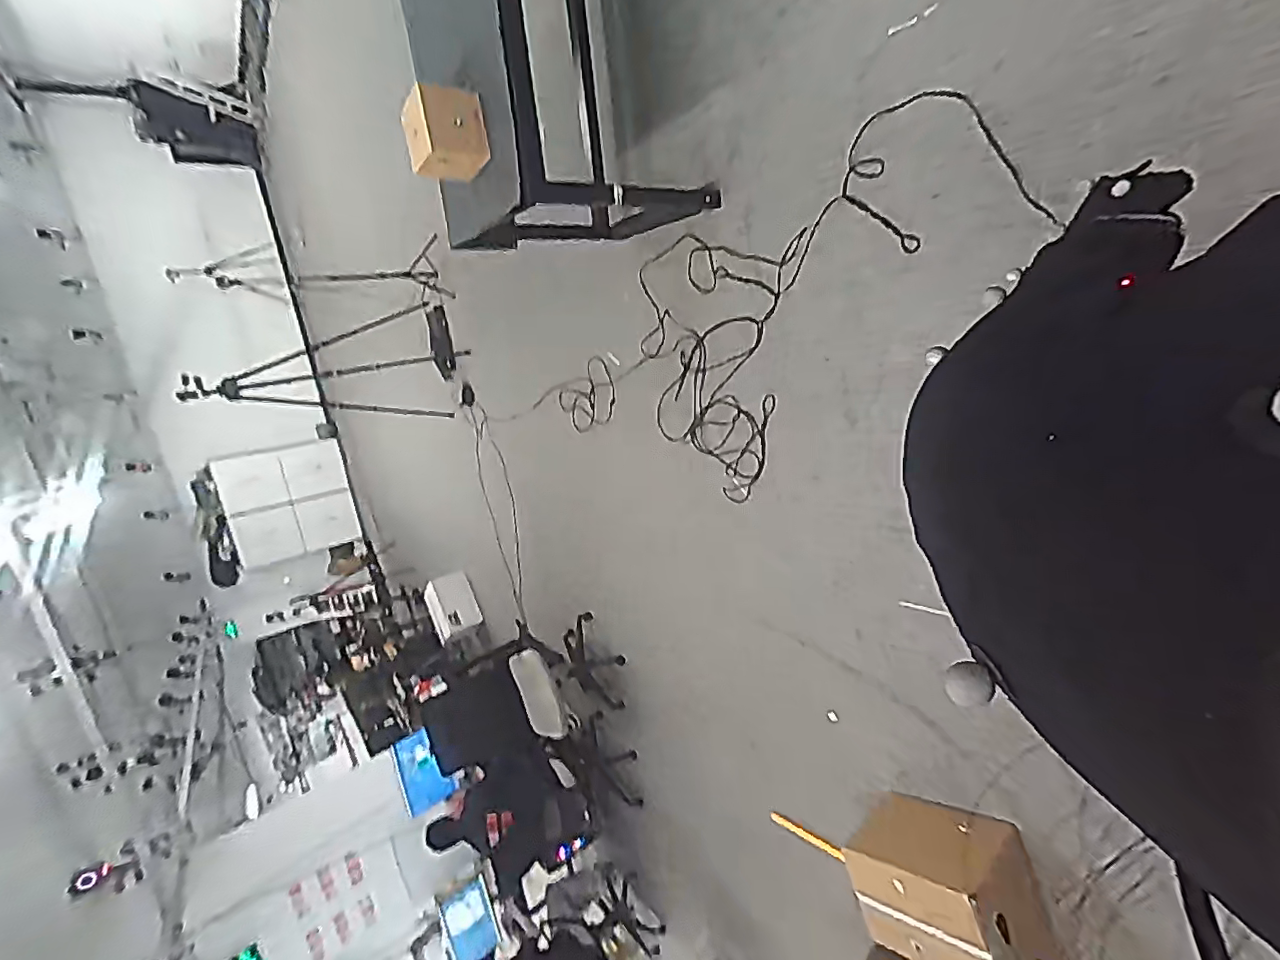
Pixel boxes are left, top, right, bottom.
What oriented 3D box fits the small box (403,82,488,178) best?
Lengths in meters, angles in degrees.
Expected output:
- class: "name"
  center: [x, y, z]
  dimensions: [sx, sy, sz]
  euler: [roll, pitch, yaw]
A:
- class: "small box"
  center: [-0.533, -0.959, 1.498]
  dimensions: [0.179, 0.176, 0.168]
  euler: [6, 108, 53]
